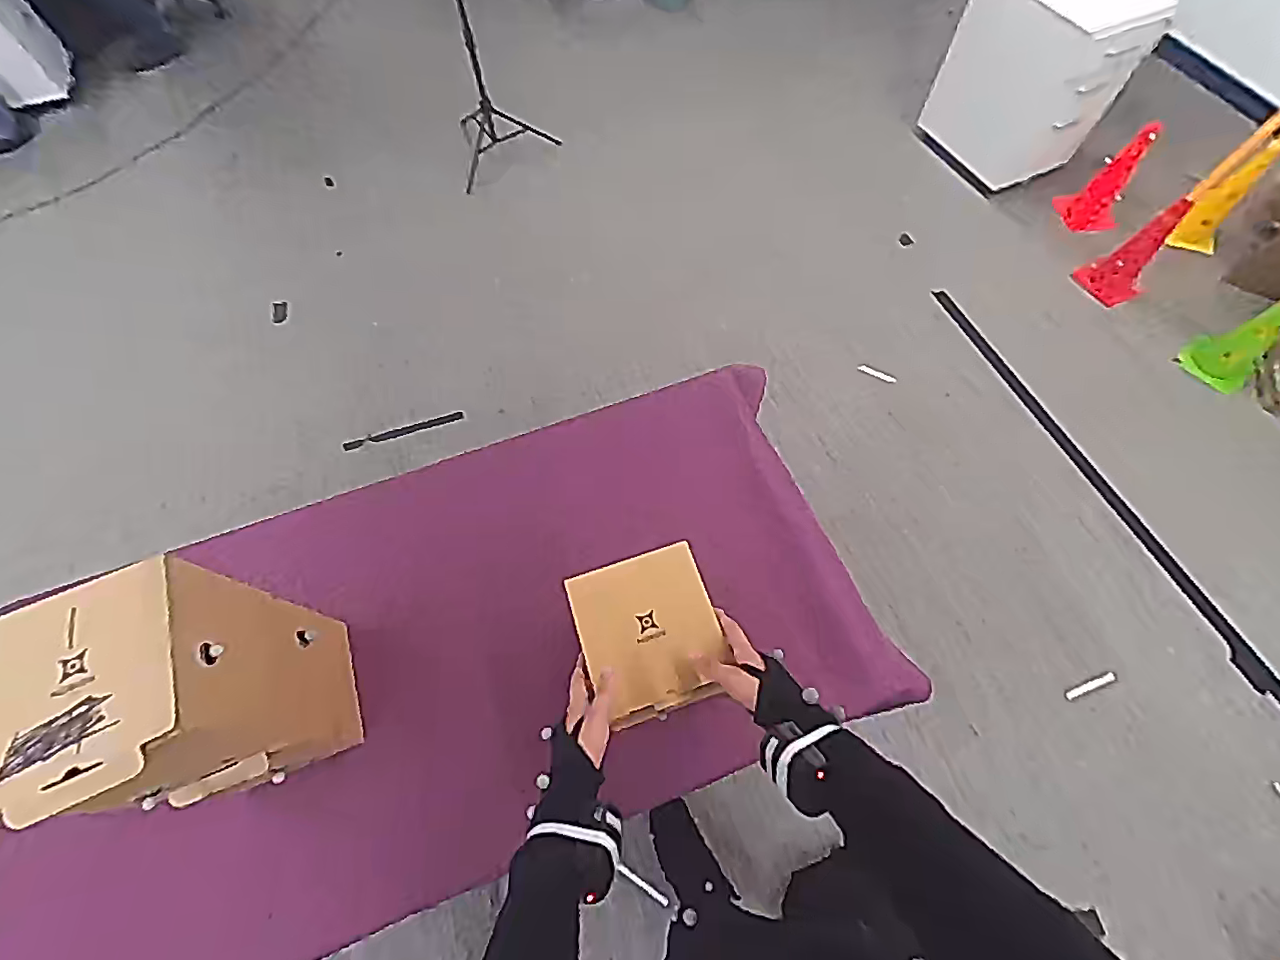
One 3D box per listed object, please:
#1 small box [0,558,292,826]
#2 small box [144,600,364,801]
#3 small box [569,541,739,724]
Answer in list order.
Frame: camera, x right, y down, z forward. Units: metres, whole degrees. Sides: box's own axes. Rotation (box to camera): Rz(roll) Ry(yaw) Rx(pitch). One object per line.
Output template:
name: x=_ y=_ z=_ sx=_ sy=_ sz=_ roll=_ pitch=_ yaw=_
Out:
small box: x=-0.487 y=0.209 z=0.544 sx=0.168 sy=0.176 sz=0.179 roll=-24 pitch=65 yaw=-11
small box: x=-0.483 y=0.280 z=0.692 sx=0.168 sy=0.176 sz=0.179 roll=-20 pitch=66 yaw=-8
small box: x=0.013 y=0.208 z=0.719 sx=0.168 sy=0.176 sz=0.179 roll=-17 pitch=65 yaw=-7
